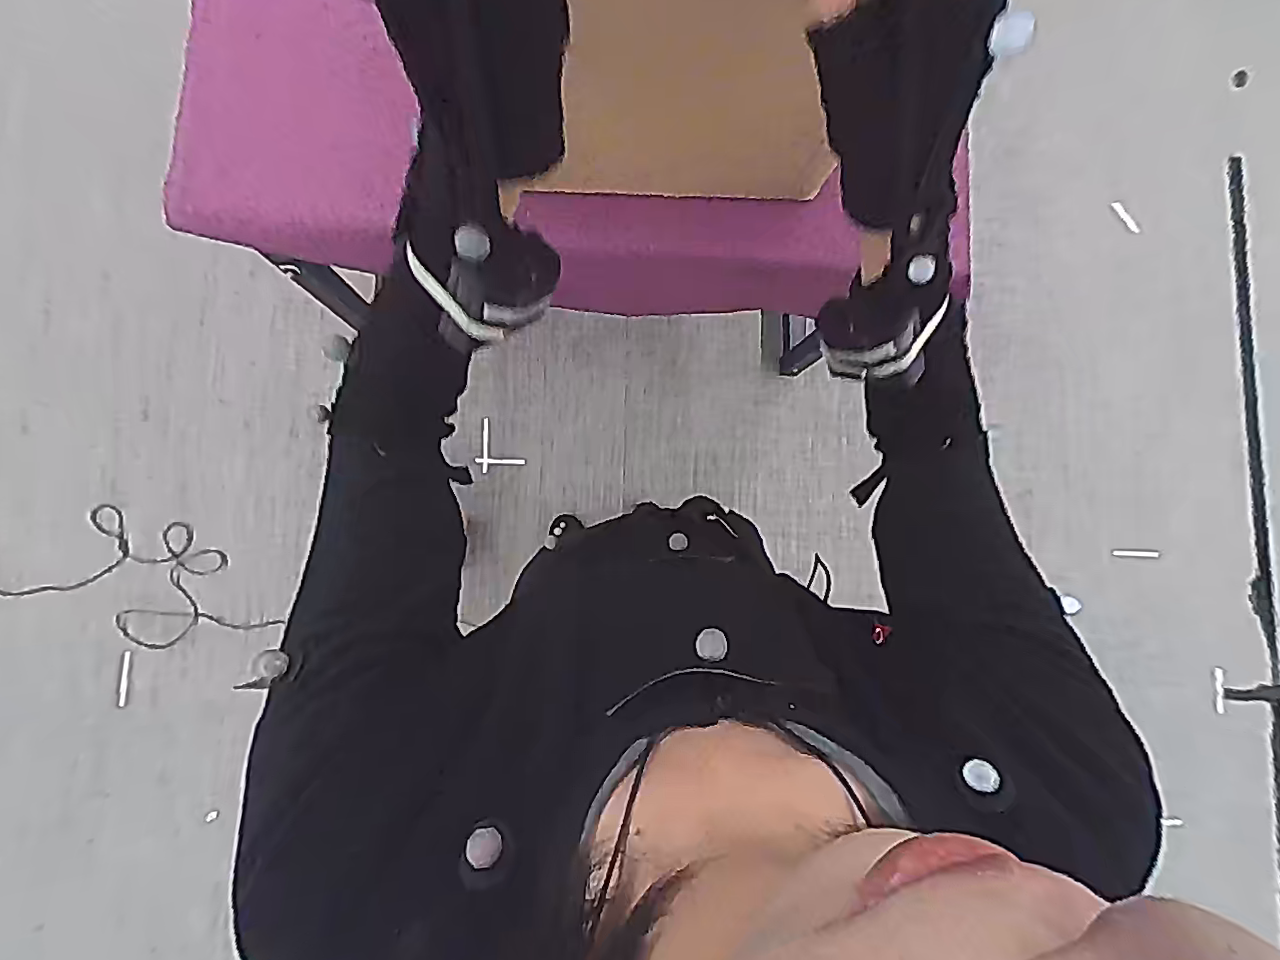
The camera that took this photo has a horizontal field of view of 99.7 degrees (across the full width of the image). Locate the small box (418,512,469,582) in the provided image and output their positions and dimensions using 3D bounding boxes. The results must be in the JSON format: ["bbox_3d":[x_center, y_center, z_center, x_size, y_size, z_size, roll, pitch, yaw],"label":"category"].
[{"bbox_3d":[-0.551,0.166,1.384,0.179,0.176,0.168,4,85,-5],"label":"small box"}]
